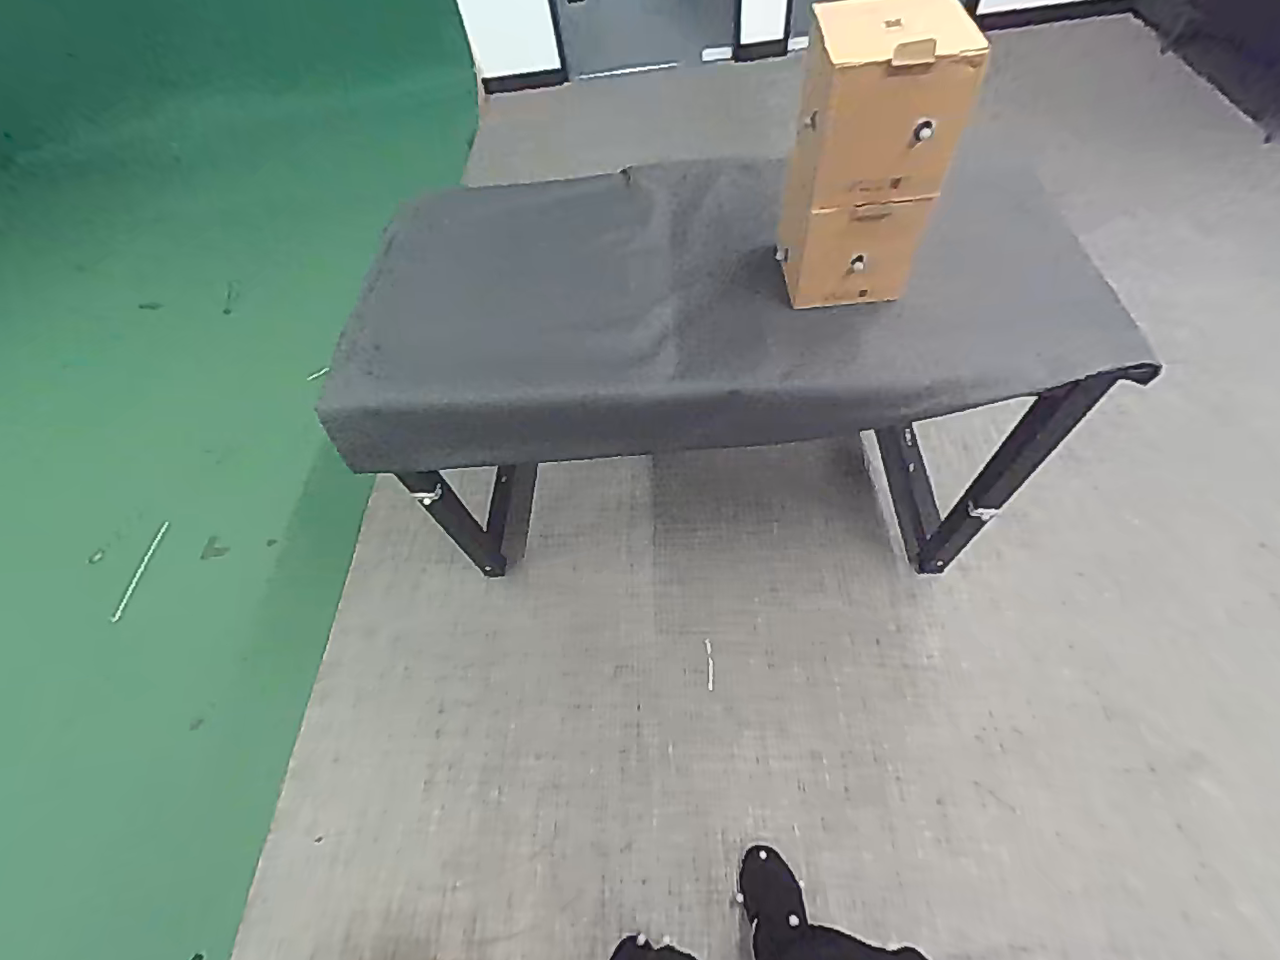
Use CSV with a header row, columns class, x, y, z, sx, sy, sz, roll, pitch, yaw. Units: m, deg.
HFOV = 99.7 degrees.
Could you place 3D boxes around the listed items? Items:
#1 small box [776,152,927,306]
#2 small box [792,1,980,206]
class,x,y,z,sx,sy,sz,roll,pitch,yaw
small box,0.311,-0.387,0.836,0.168,0.176,0.179,-4,57,4
small box,0.298,-0.476,0.700,0.168,0.176,0.179,-1,56,6
